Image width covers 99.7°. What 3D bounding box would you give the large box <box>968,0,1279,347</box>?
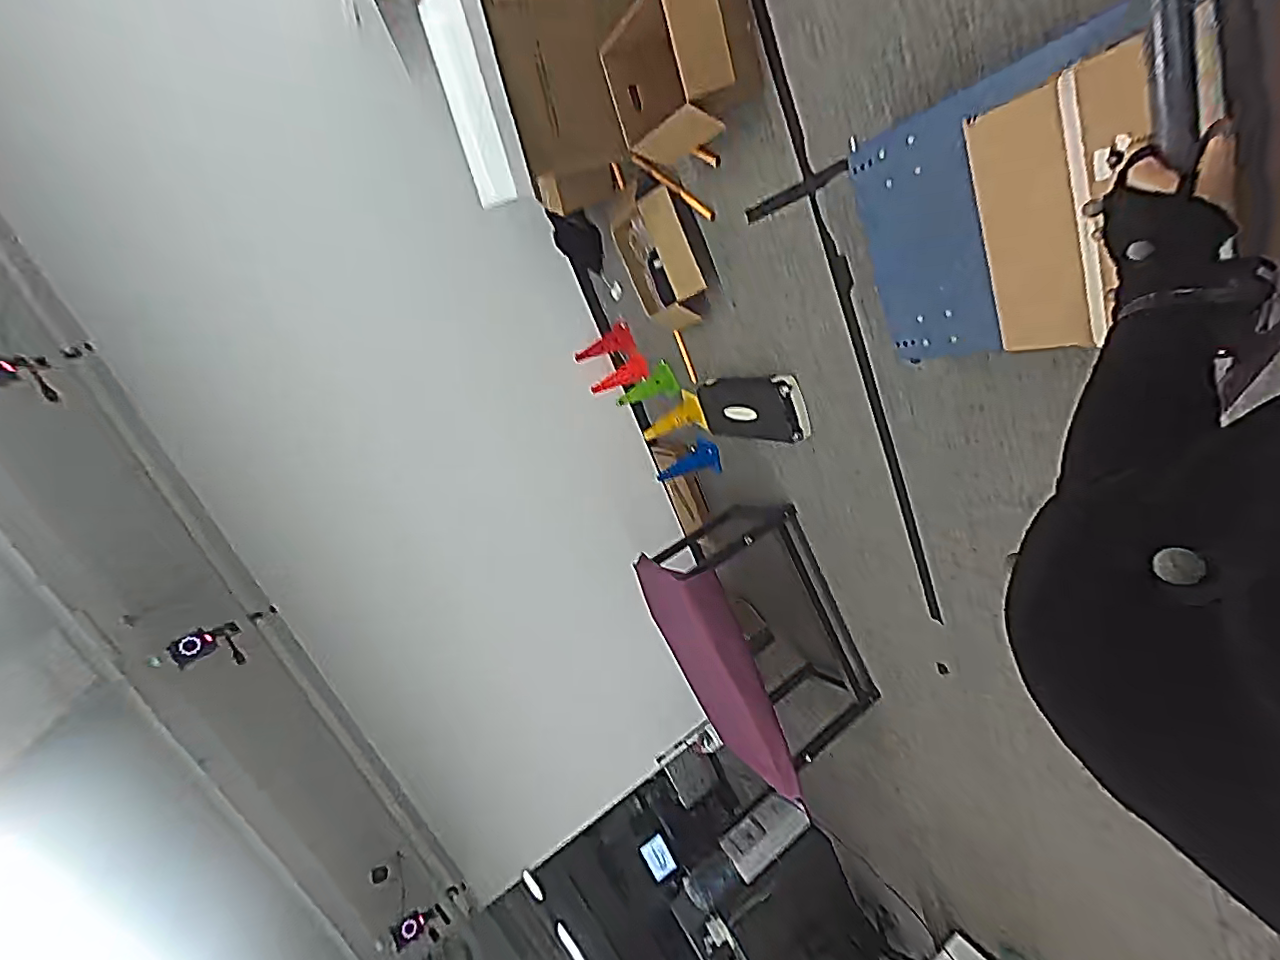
[{"bbox_3d":[0.812,-0.474,0.876,0.320,0.320,0.408,13,128,63],"label":"large box"}]
